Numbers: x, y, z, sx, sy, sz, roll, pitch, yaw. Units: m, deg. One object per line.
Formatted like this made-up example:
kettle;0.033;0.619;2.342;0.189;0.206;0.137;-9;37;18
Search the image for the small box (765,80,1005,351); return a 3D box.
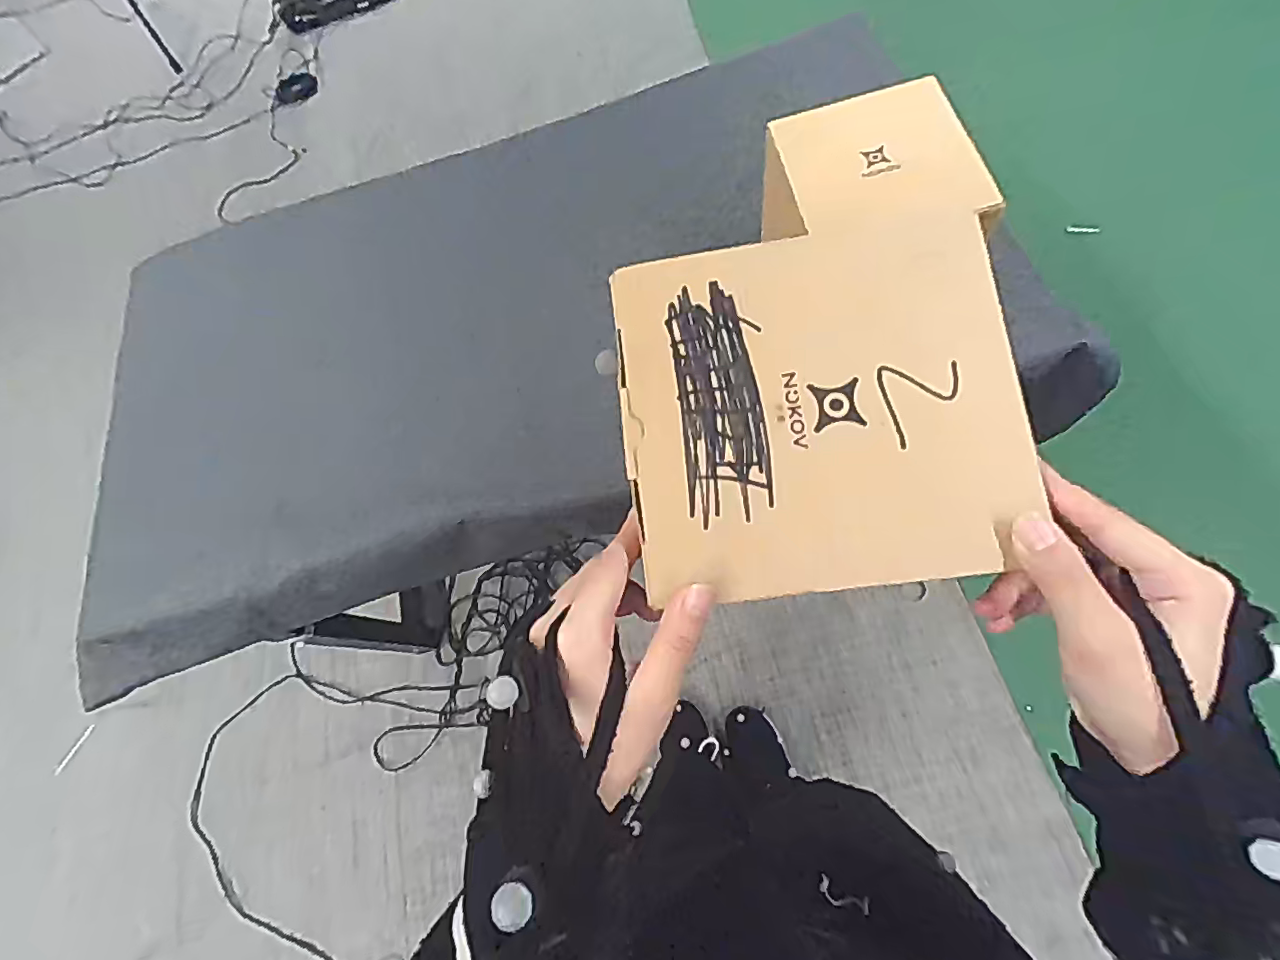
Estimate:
small box;0.235;-0.269;0.578;0.168;0.176;0.179;-13;68;6
